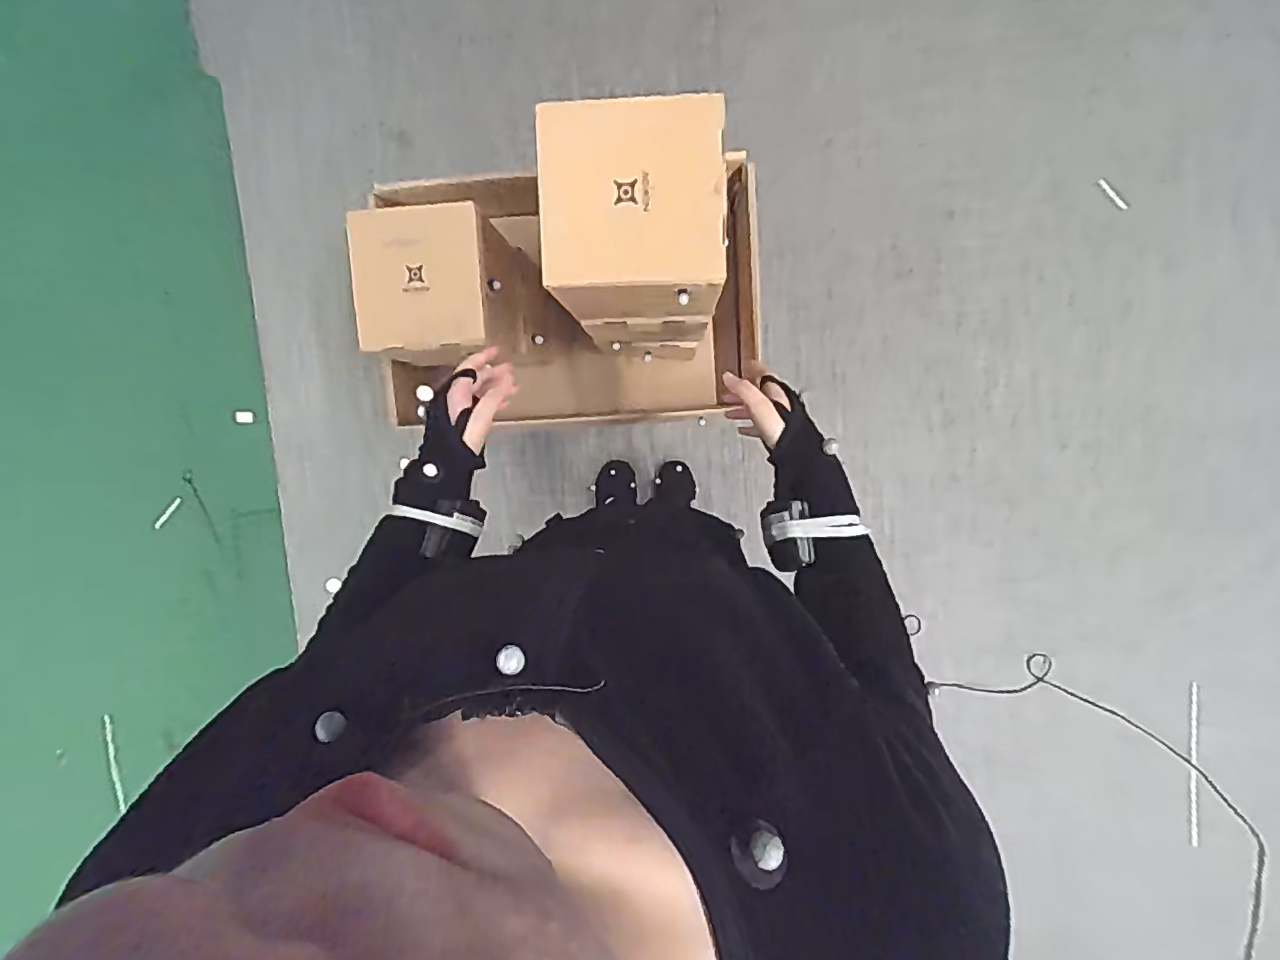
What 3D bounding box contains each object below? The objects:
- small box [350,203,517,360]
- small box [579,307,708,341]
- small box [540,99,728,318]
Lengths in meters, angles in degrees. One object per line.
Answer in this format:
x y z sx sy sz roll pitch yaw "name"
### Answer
-0.276 -0.264 0.761 0.168 0.176 0.179 -2 96 2 "small box"
0.010 -0.290 0.746 0.168 0.176 0.179 0 95 3 "small box"
-0.002 -0.275 0.585 0.179 0.176 0.168 -1 96 2 "small box"
